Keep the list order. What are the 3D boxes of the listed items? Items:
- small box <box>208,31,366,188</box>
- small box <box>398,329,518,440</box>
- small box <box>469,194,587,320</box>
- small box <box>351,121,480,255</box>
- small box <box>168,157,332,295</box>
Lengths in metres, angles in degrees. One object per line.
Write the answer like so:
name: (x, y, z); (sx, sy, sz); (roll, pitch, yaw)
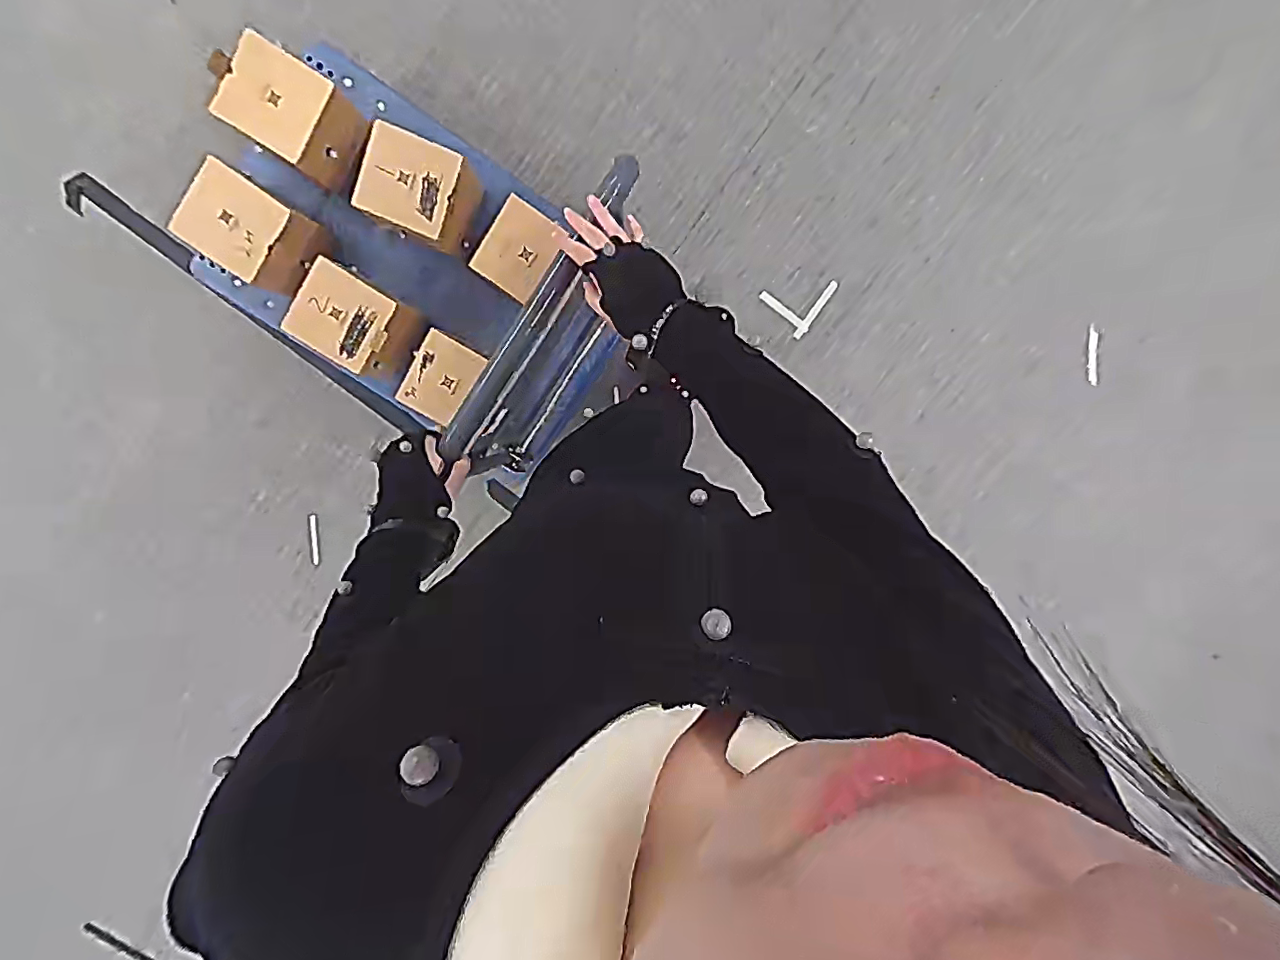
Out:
small box: (-0.684, -0.713, 1.070); (0.179, 0.176, 0.168); (29, 97, -8)
small box: (-0.383, -0.206, 1.174); (0.179, 0.176, 0.168); (29, 96, -8)
small box: (-0.224, -0.457, 1.142); (0.179, 0.176, 0.168); (33, 96, -7)
small box: (-0.447, -0.582, 1.106); (0.179, 0.176, 0.168); (20, 98, -6)
small box: (-0.779, -0.500, 1.099); (0.179, 0.176, 0.168); (34, 96, -9)
